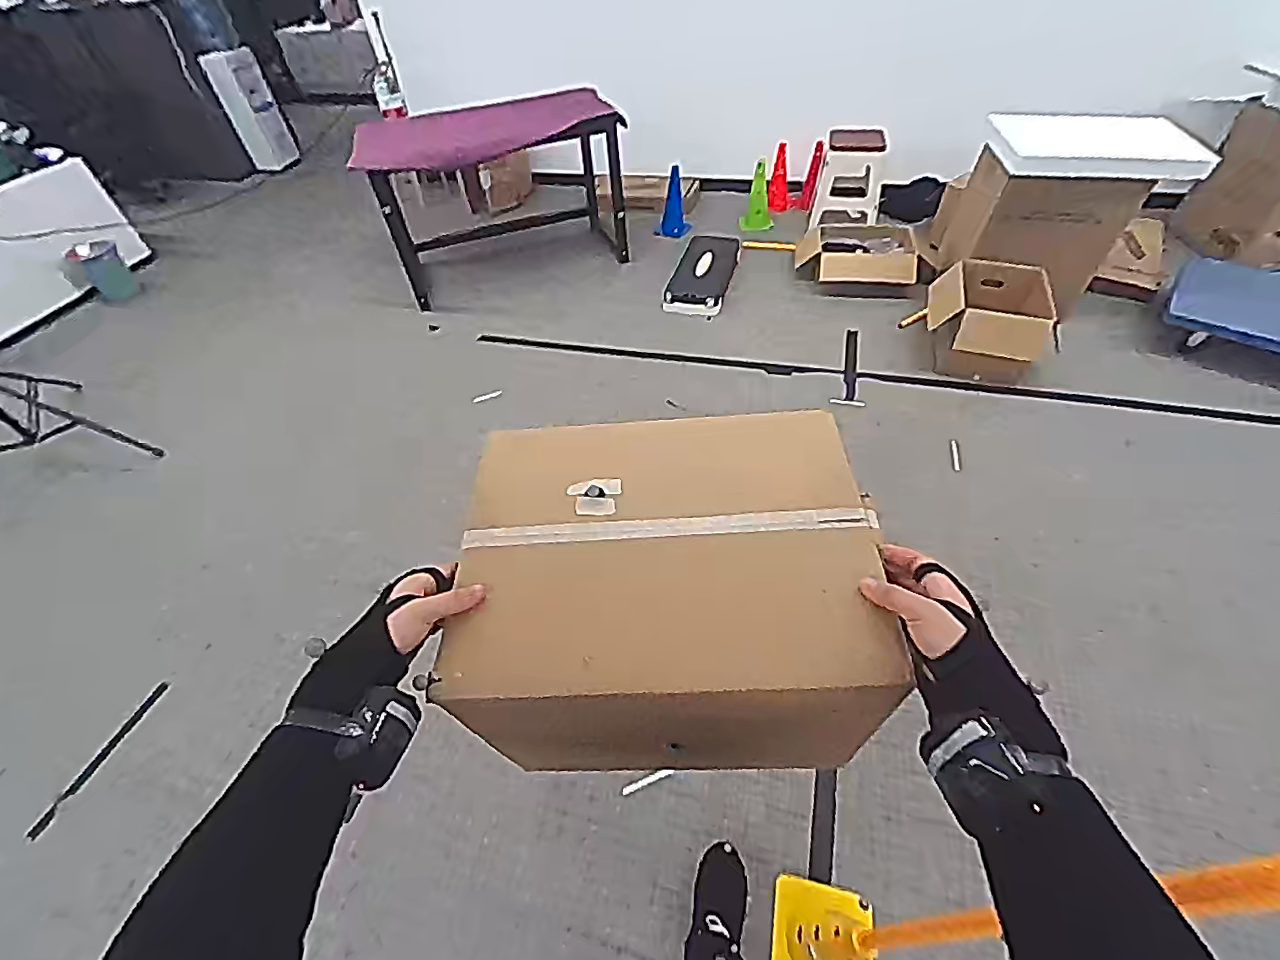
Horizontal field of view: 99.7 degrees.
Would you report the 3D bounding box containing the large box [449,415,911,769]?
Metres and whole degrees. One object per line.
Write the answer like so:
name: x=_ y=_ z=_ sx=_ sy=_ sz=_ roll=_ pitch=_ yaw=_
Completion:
large box: x=0.045 y=0.152 z=0.665 sx=0.408 sy=0.320 sz=0.320 roll=-5 pitch=50 yaw=6
